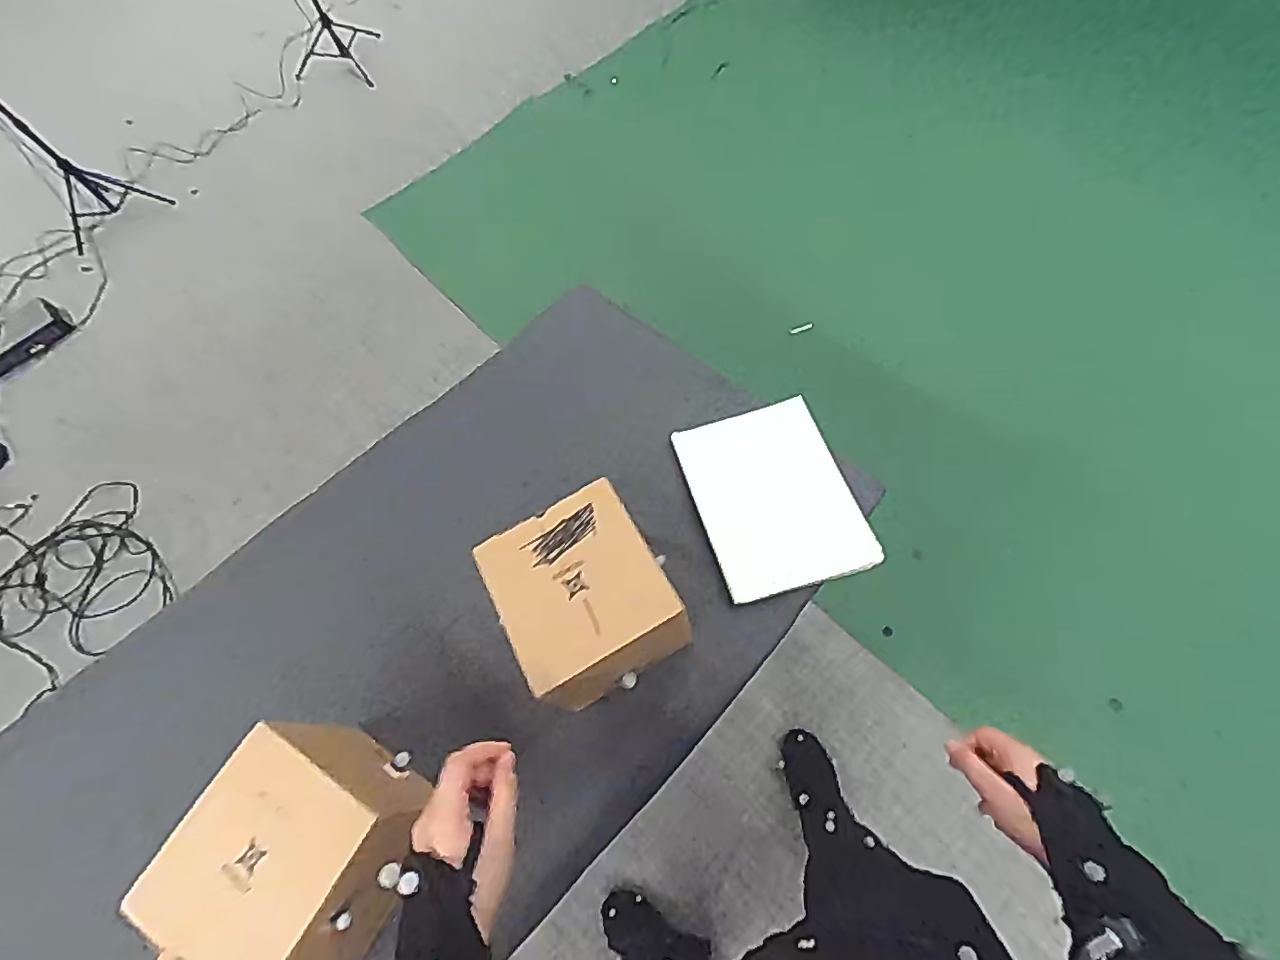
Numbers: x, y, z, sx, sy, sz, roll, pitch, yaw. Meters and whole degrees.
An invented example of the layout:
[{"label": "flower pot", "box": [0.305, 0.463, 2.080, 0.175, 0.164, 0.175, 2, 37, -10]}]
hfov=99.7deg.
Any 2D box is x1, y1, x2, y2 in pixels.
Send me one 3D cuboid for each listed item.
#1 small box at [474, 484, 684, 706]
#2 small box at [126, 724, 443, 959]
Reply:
[{"label": "small box", "box": [-0.062, 0.141, 0.630, 0.168, 0.176, 0.179, -30, 64, -6]}, {"label": "small box", "box": [-0.339, 0.379, 0.556, 0.168, 0.176, 0.179, 24, 68, 17]}]
